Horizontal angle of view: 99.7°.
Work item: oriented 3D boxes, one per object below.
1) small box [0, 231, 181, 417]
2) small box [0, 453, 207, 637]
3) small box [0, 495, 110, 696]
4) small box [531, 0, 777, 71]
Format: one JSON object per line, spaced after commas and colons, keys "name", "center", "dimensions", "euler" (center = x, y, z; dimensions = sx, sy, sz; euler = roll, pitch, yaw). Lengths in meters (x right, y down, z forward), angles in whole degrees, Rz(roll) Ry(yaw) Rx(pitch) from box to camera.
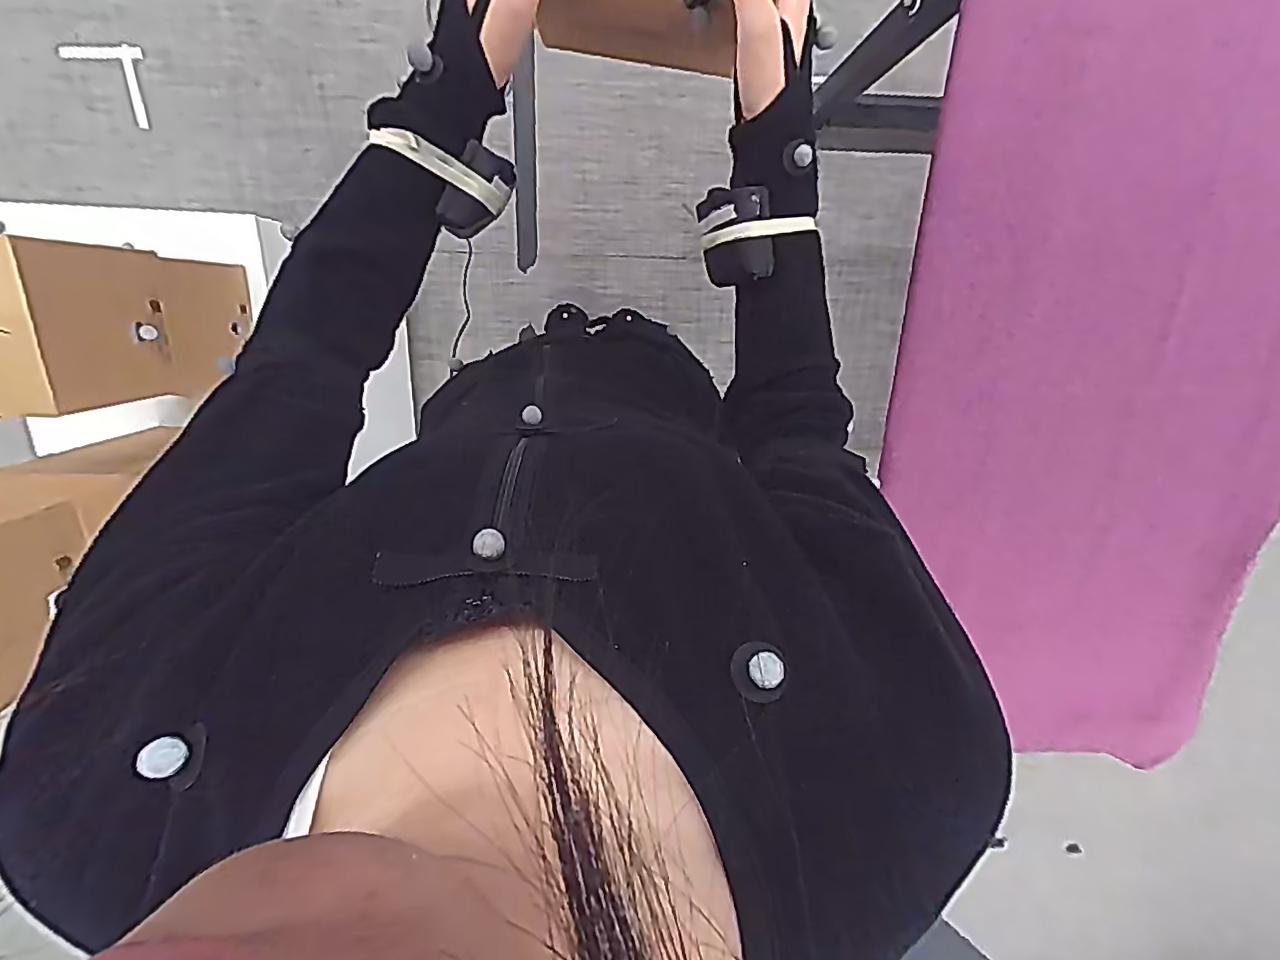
{"name": "small box", "center": [-0.641, -0.167, 0.563], "dimensions": [0.179, 0.176, 0.168], "euler": [3, 108, -5]}
{"name": "small box", "center": [-0.661, 0.068, 0.640], "dimensions": [0.179, 0.176, 0.168], "euler": [1, 108, -2]}
{"name": "small box", "center": [-0.655, 0.116, 0.485], "dimensions": [0.179, 0.176, 0.168], "euler": [0, 109, -3]}
{"name": "small box", "center": [0.015, -0.416, 0.372], "dimensions": [0.179, 0.176, 0.168], "euler": [8, 109, -3]}
